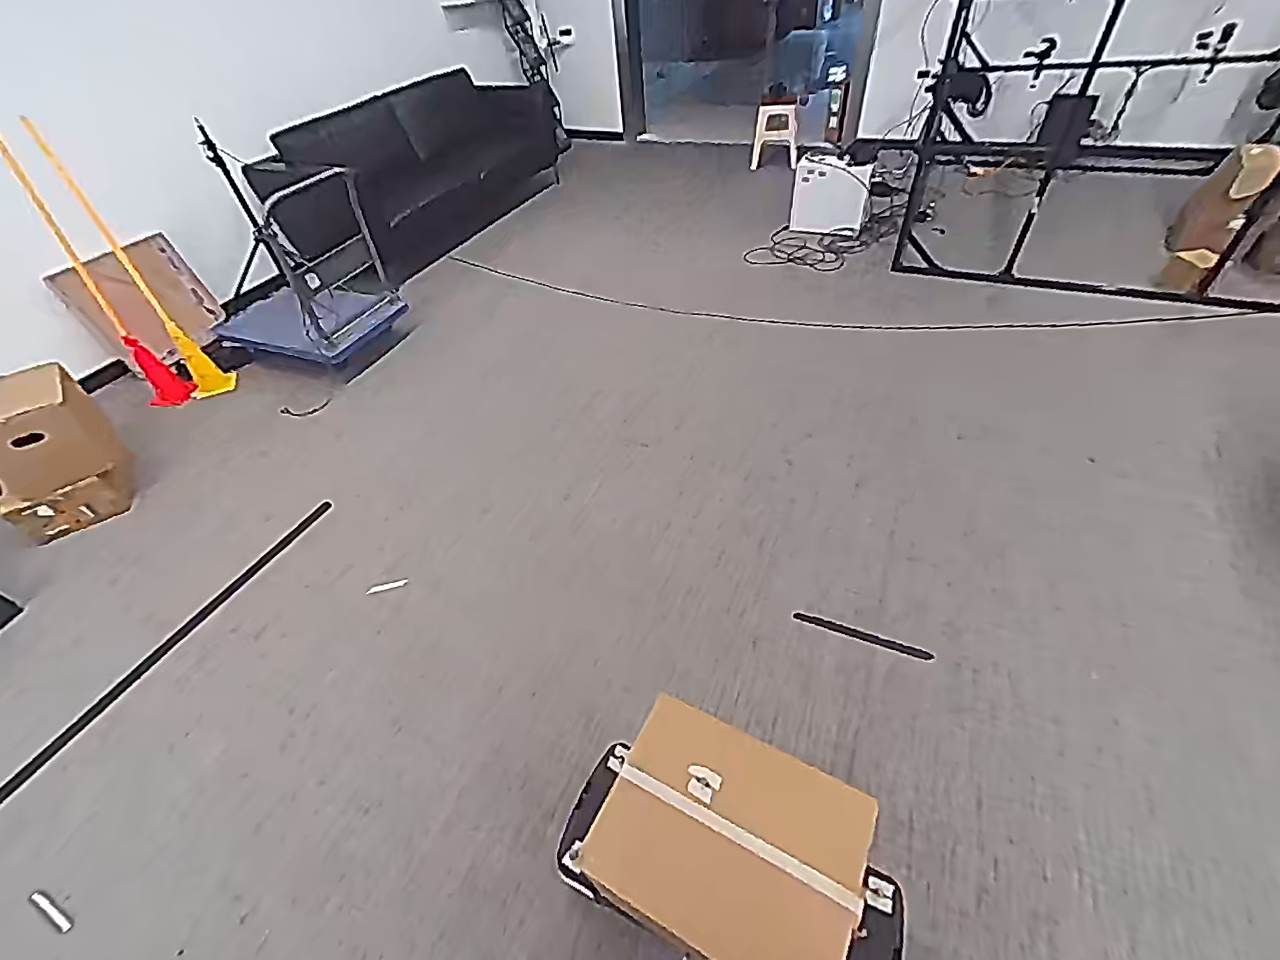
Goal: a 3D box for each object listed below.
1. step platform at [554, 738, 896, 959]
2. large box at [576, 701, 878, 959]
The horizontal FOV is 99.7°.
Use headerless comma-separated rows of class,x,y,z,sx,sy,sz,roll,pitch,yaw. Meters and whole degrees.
step platform,0.155,0.841,1.128,0.684,0.204,0.286,20,50,25
large box,0.158,0.671,0.959,0.408,0.320,0.320,17,49,24
